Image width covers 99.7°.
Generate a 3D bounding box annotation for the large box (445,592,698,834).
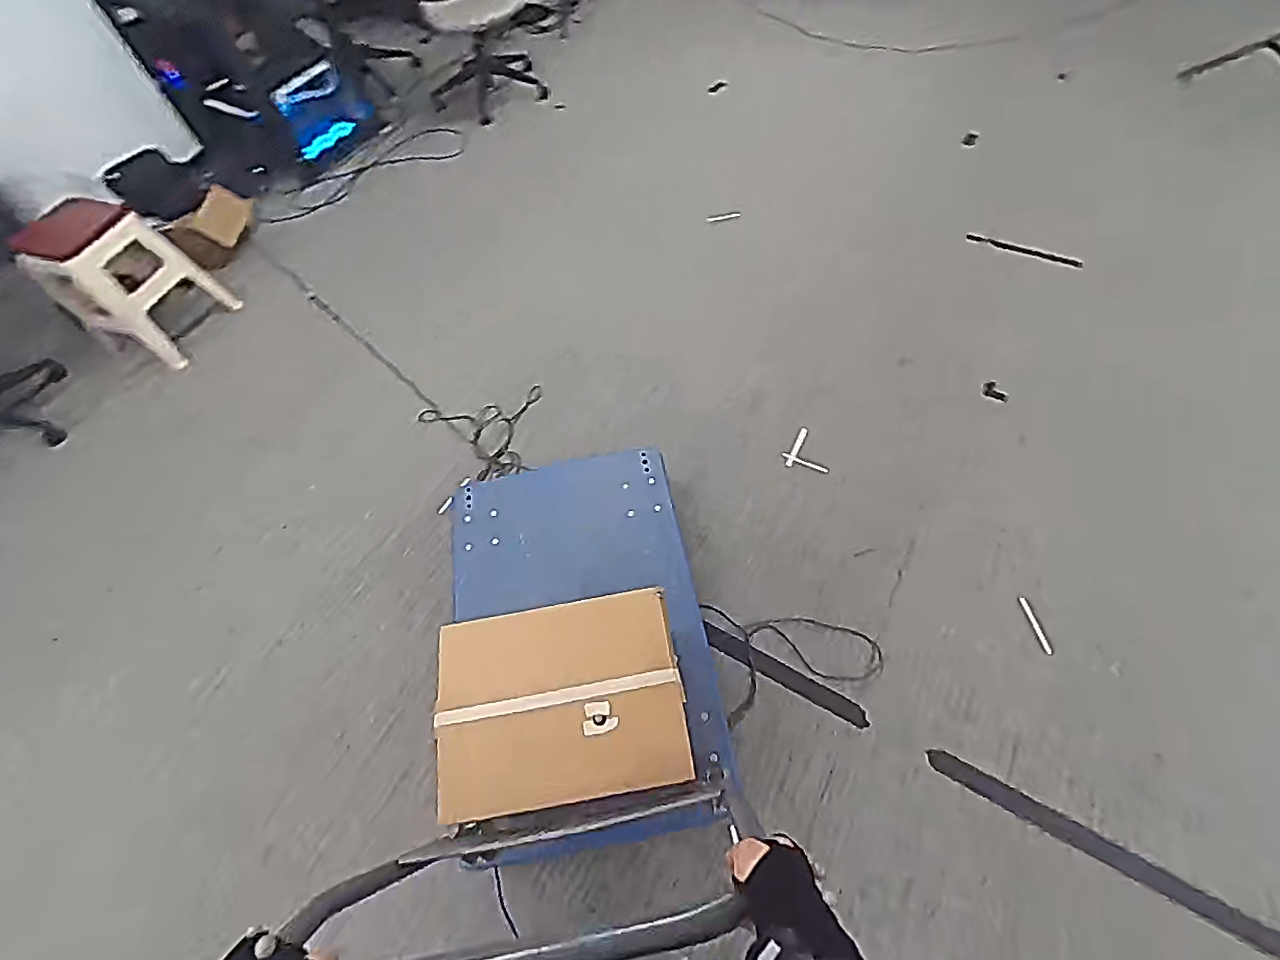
[{"bbox_3d":[-0.121,0.445,1.034,0.408,0.320,0.320,-11,62,-1],"label":"large box"}]
